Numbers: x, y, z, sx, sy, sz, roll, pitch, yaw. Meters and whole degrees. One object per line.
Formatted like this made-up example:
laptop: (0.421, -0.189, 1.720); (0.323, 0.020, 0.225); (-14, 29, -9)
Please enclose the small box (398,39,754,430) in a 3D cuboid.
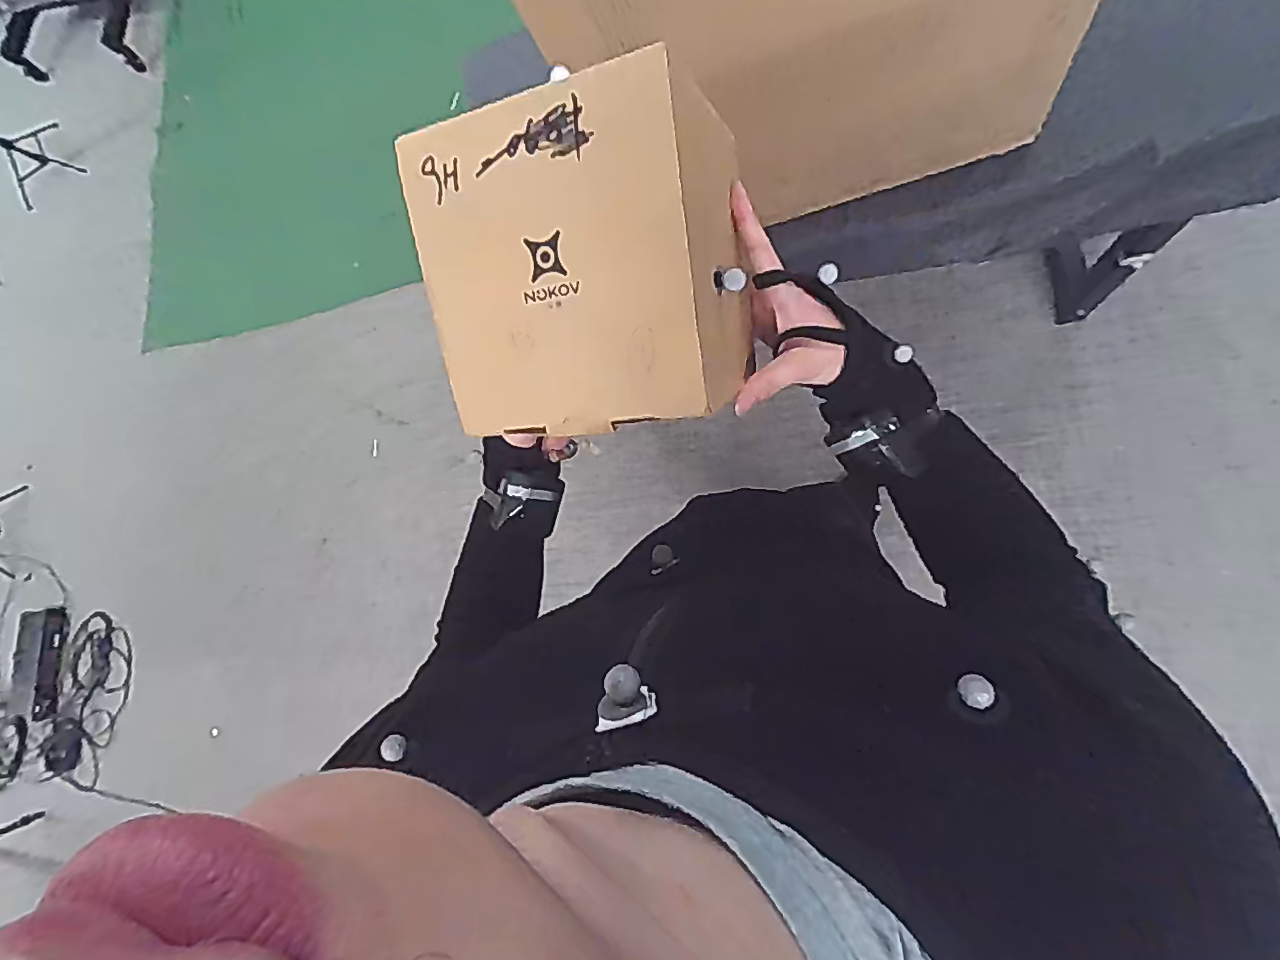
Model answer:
small box: (-0.021, -0.144, 0.370); (0.168, 0.176, 0.179); (-3, 107, 21)
